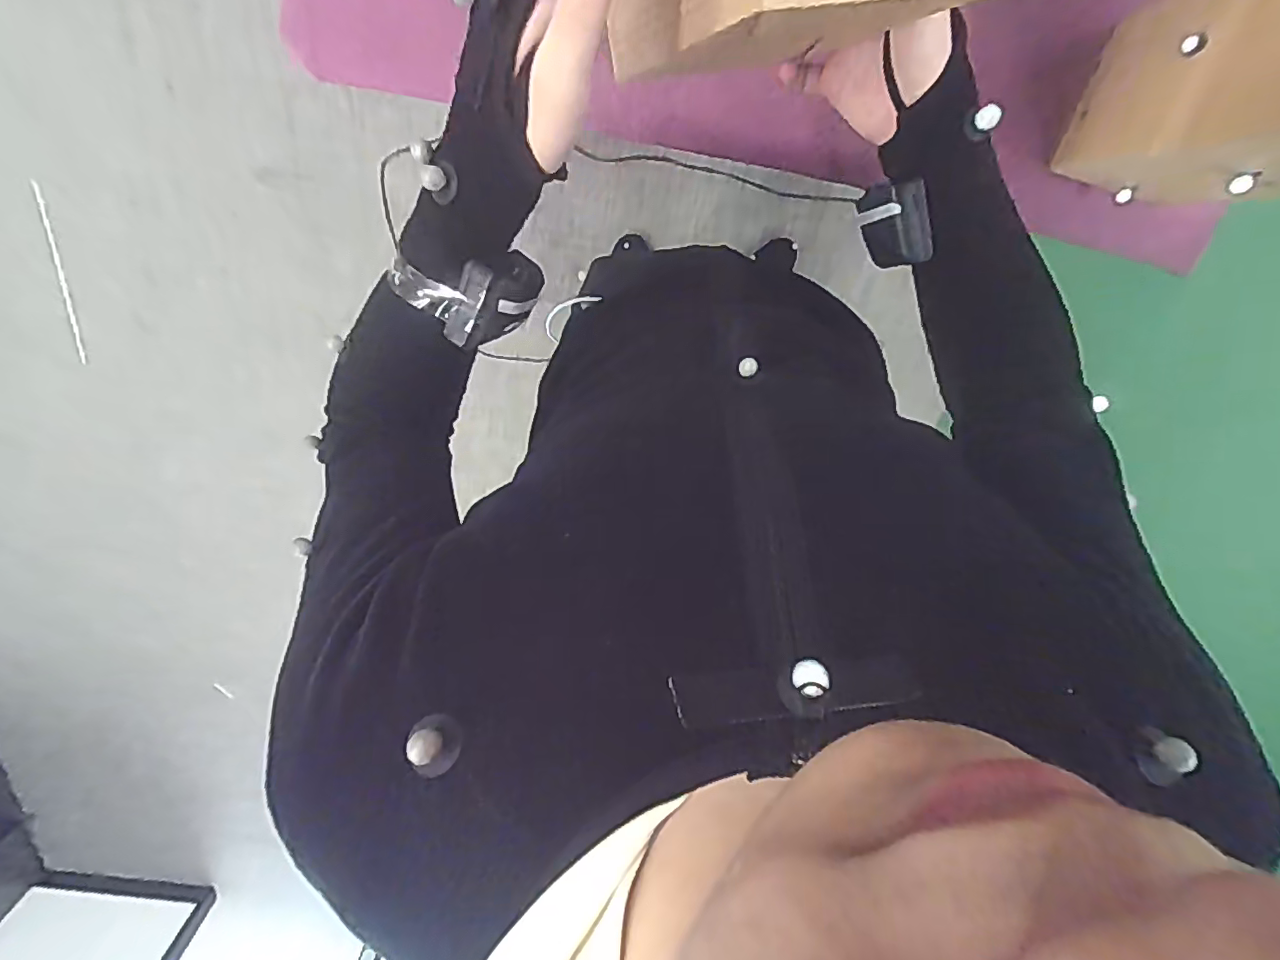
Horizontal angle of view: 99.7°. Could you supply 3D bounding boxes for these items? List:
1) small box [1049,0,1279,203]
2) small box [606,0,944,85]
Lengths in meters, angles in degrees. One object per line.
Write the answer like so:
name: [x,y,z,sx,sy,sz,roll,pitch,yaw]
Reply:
small box: [0.635,-0.427,0.616,0.179,0.176,0.168,14,114,-5]
small box: [0.077,-0.348,0.304,0.168,0.179,0.176,-20,121,-17]
